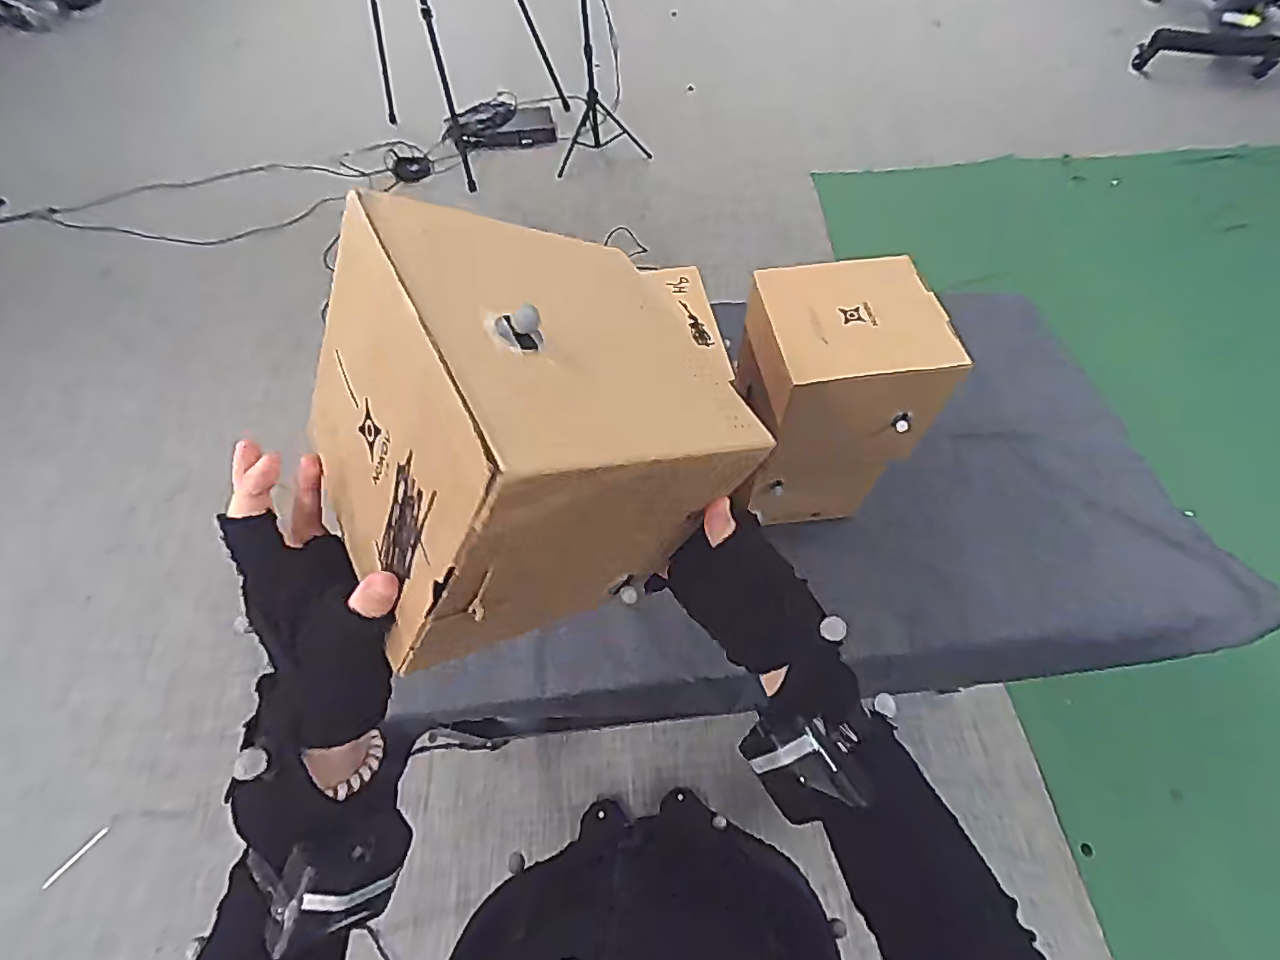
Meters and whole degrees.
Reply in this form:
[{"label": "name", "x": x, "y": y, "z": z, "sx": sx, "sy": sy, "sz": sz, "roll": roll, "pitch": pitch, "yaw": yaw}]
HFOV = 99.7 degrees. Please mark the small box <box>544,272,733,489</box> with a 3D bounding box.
[{"label": "small box", "x": -0.003, "y": -0.105, "z": 0.620, "sx": 0.179, "sy": 0.176, "sz": 0.168, "roll": -10, "pitch": 60, "yaw": -3}]
